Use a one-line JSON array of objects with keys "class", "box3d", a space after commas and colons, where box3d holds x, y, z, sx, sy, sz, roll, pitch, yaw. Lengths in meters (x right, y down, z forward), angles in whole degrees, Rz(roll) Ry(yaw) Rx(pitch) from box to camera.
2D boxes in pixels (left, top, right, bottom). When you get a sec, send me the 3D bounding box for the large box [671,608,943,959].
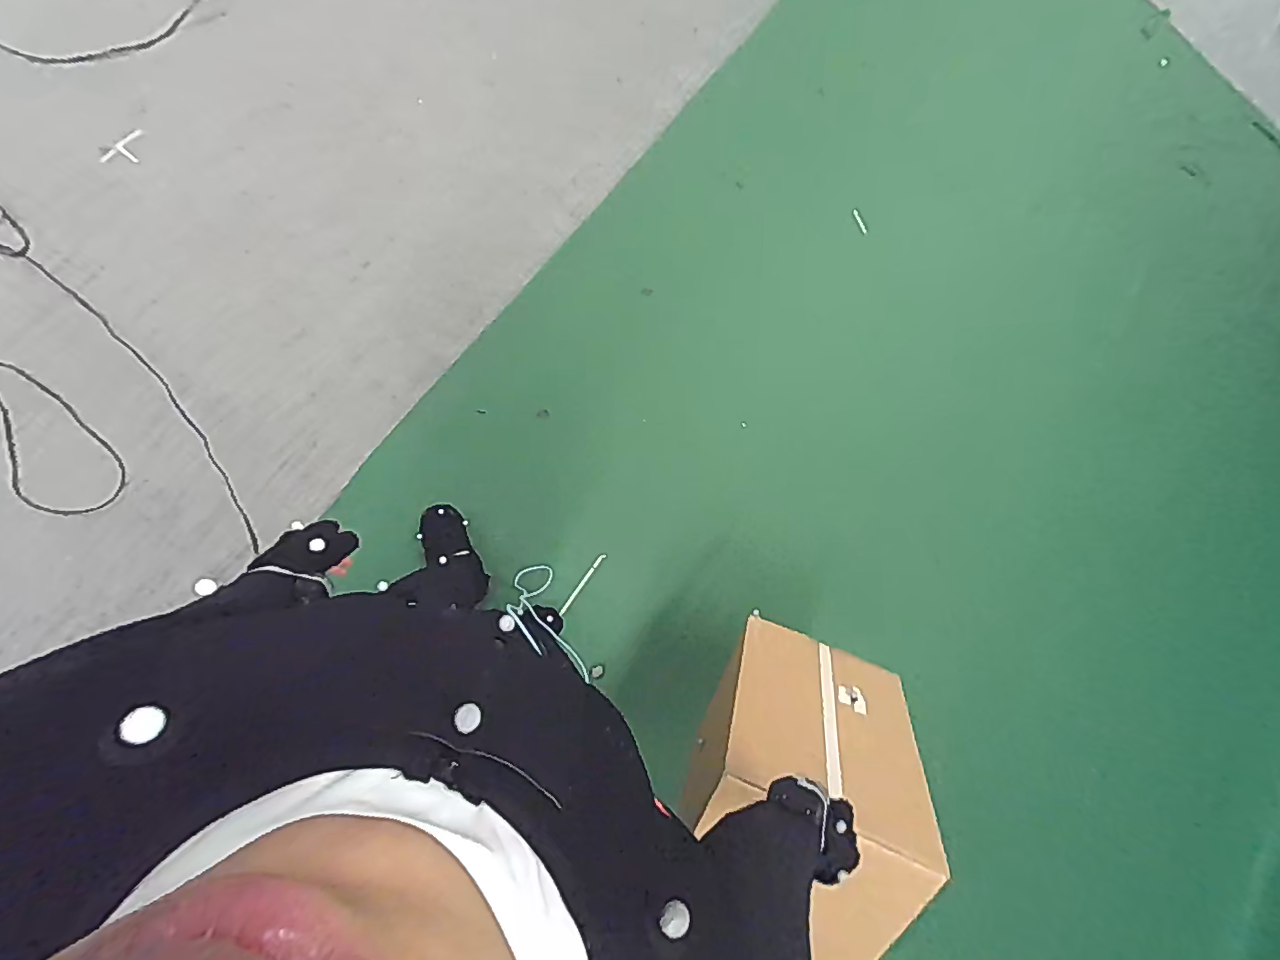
[{"class": "large box", "box3d": [0.273, 0.511, 0.976, 0.320, 0.408, 0.320, 21, 113, 8]}]
